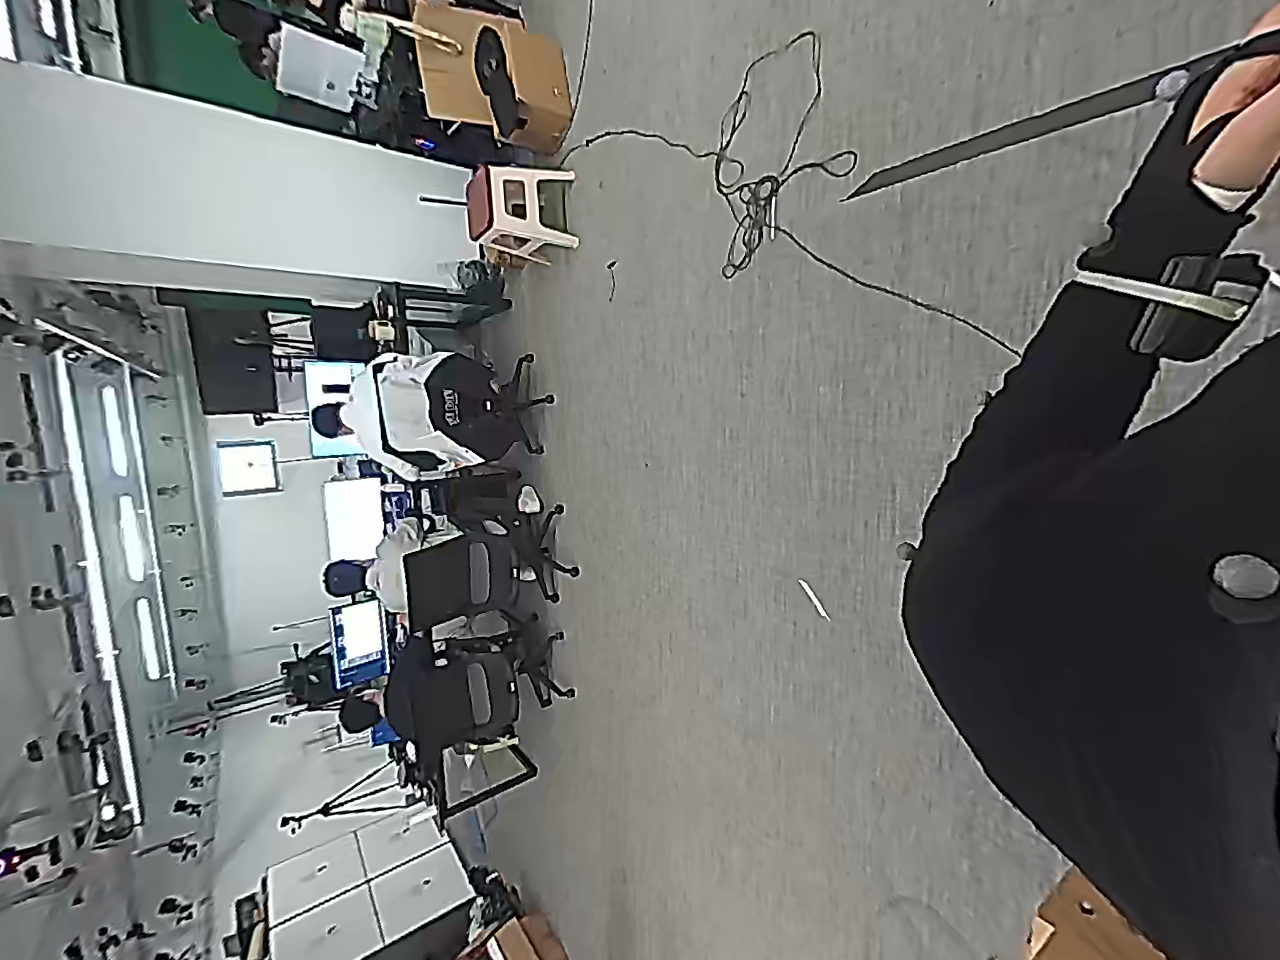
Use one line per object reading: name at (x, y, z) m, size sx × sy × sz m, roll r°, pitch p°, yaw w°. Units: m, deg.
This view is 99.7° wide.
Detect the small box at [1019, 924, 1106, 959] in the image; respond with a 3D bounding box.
small box at (0.606, 0.783, 0.743) m, size 0.168 × 0.176 × 0.179 m, roll 22°, pitch 112°, yaw 53°

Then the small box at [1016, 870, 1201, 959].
small box at (0.729, 0.766, 0.852) m, size 0.179 × 0.176 × 0.168 m, roll 16°, pitch 108°, yaw 53°
